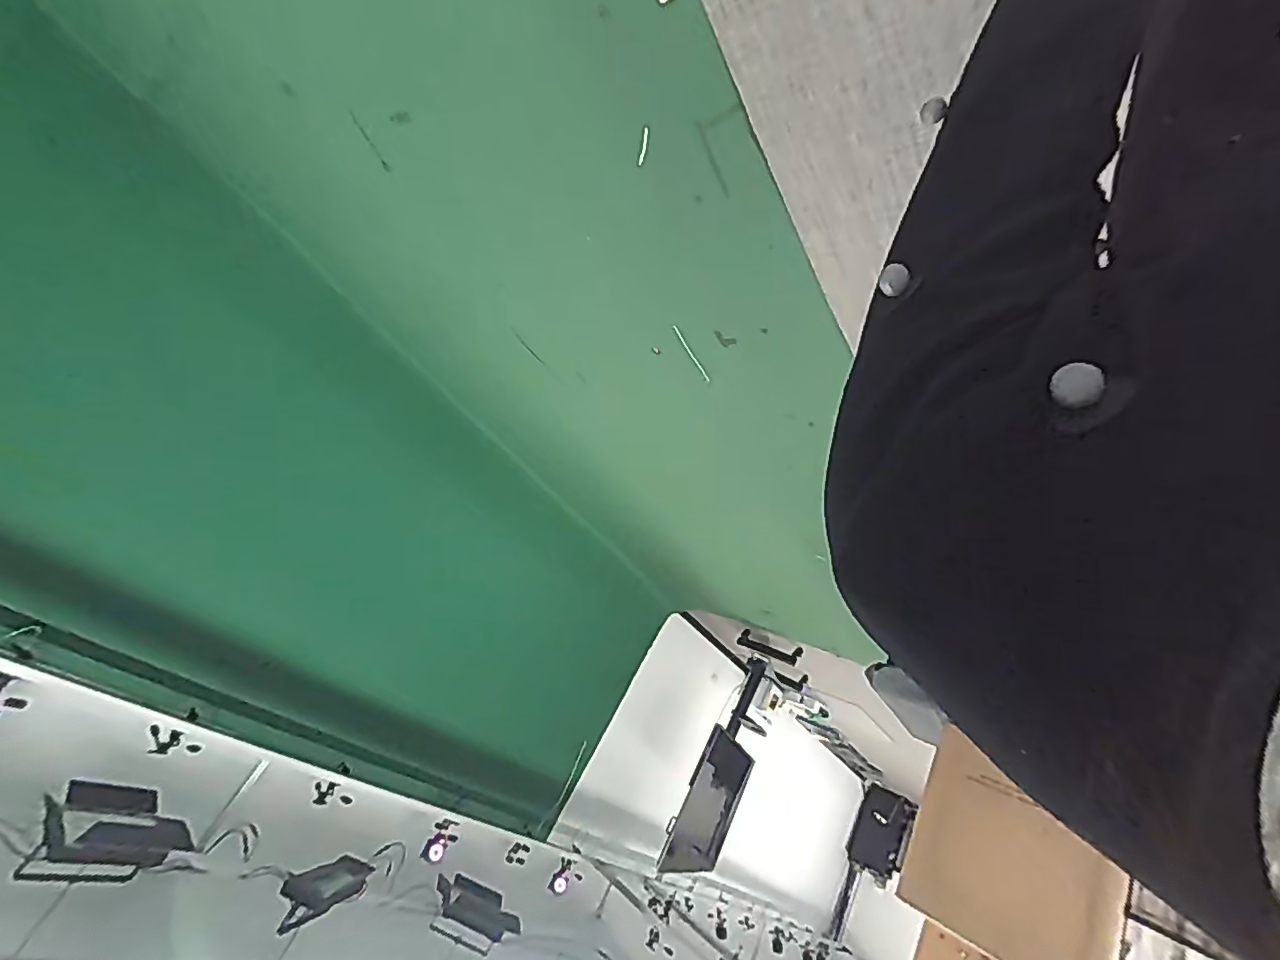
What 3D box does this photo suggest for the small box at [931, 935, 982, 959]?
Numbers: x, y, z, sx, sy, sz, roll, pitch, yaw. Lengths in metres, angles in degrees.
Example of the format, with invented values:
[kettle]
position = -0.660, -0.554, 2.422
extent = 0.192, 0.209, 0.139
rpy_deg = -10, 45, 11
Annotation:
[small box]
position = 1.045, 1.615, 1.738
extent = 0.179, 0.176, 0.168
rpy_deg = 46, 155, -29
